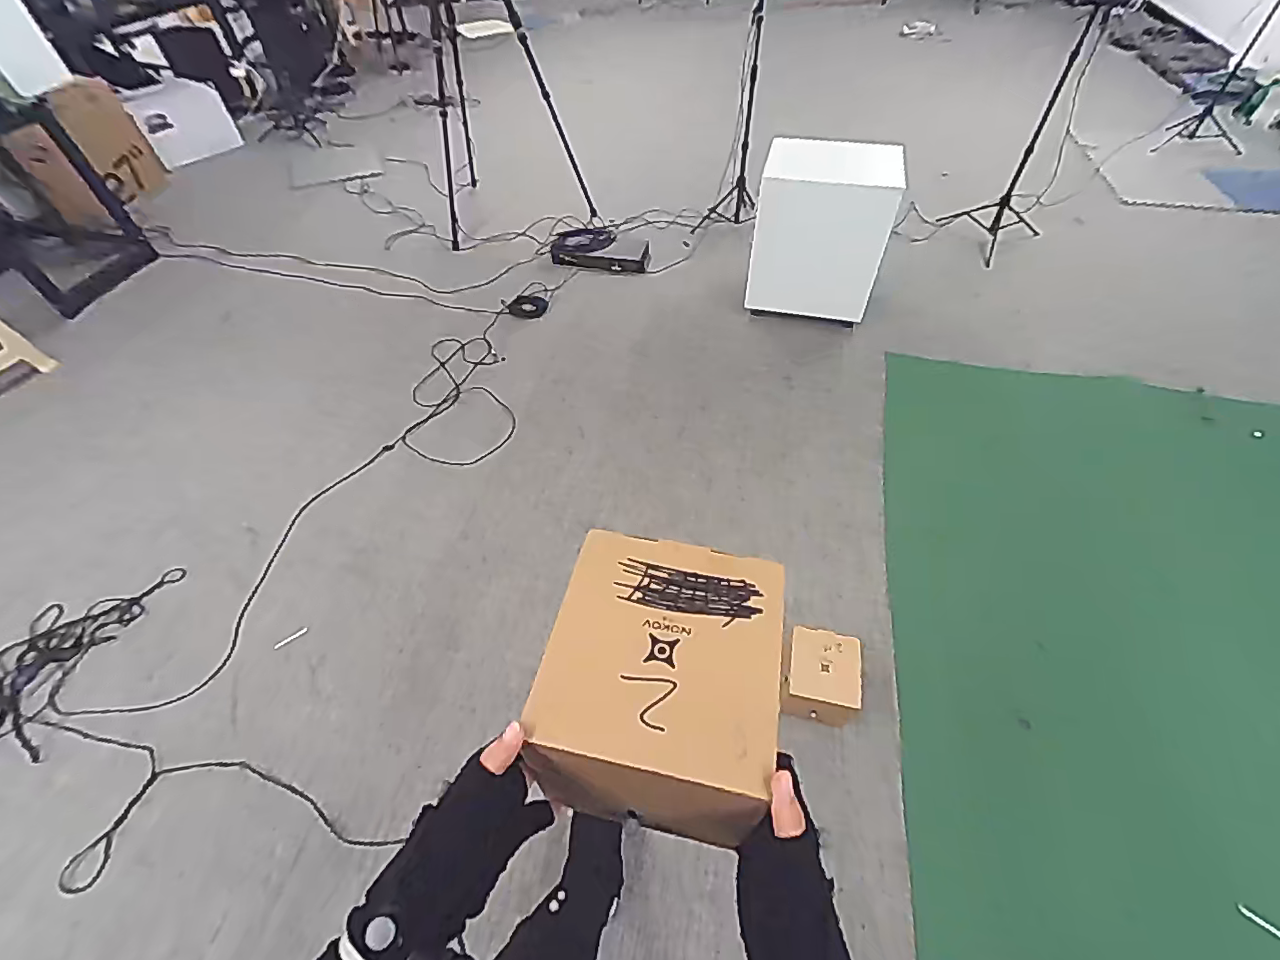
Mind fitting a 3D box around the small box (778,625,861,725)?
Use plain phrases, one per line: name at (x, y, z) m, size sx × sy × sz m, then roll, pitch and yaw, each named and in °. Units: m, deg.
small box at (0.448, 0.494, 1.357) m, size 0.168 × 0.176 × 0.179 m, roll 10°, pitch 52°, yaw 9°
